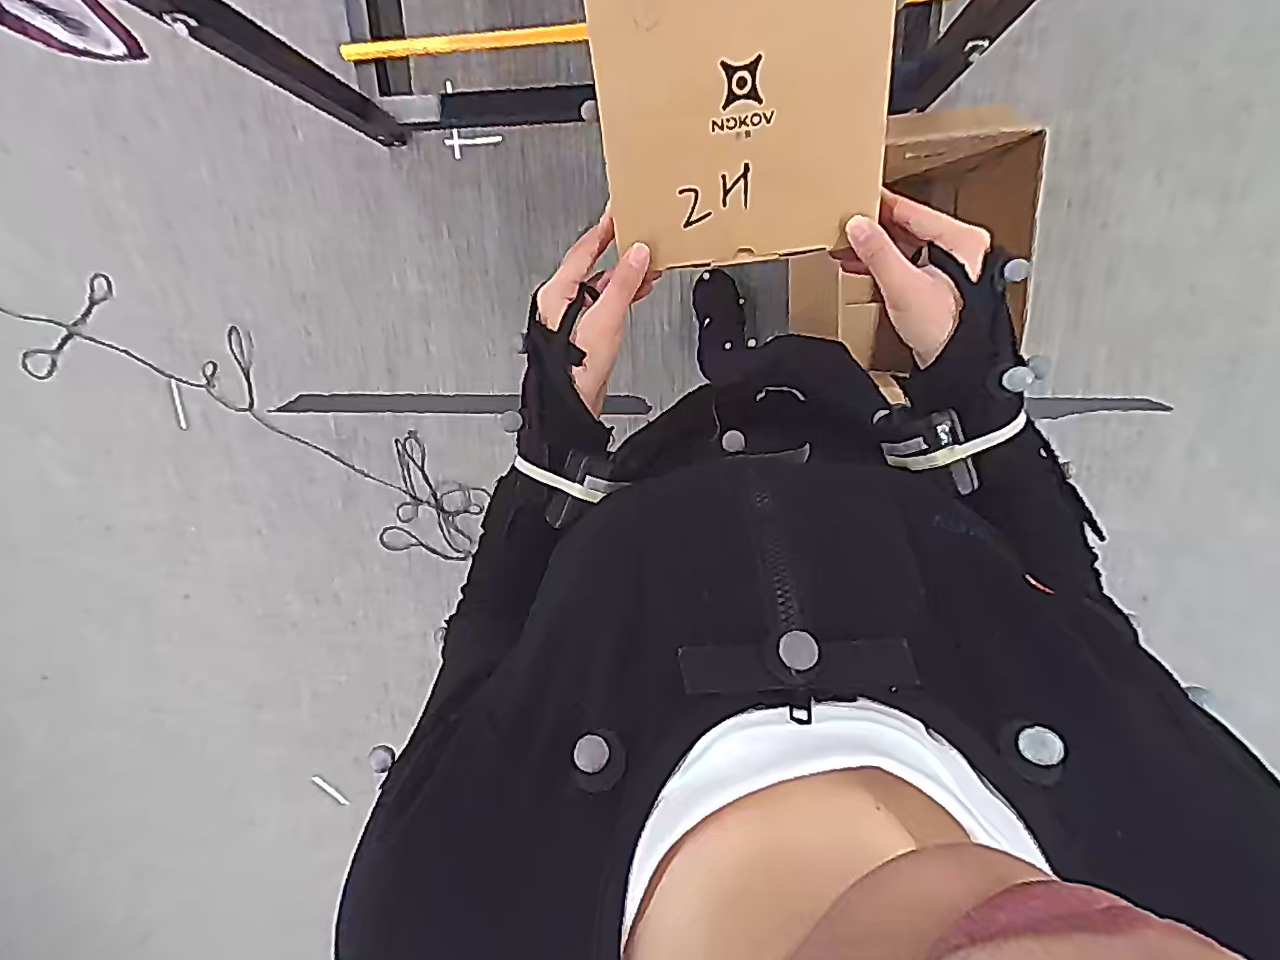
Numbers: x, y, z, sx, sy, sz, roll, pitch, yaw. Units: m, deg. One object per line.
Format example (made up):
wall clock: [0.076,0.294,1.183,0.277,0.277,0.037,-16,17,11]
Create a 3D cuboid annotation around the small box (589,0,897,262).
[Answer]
small box: [0.063,-0.261,0.375,0.168,0.176,0.179,-4,118,8]
